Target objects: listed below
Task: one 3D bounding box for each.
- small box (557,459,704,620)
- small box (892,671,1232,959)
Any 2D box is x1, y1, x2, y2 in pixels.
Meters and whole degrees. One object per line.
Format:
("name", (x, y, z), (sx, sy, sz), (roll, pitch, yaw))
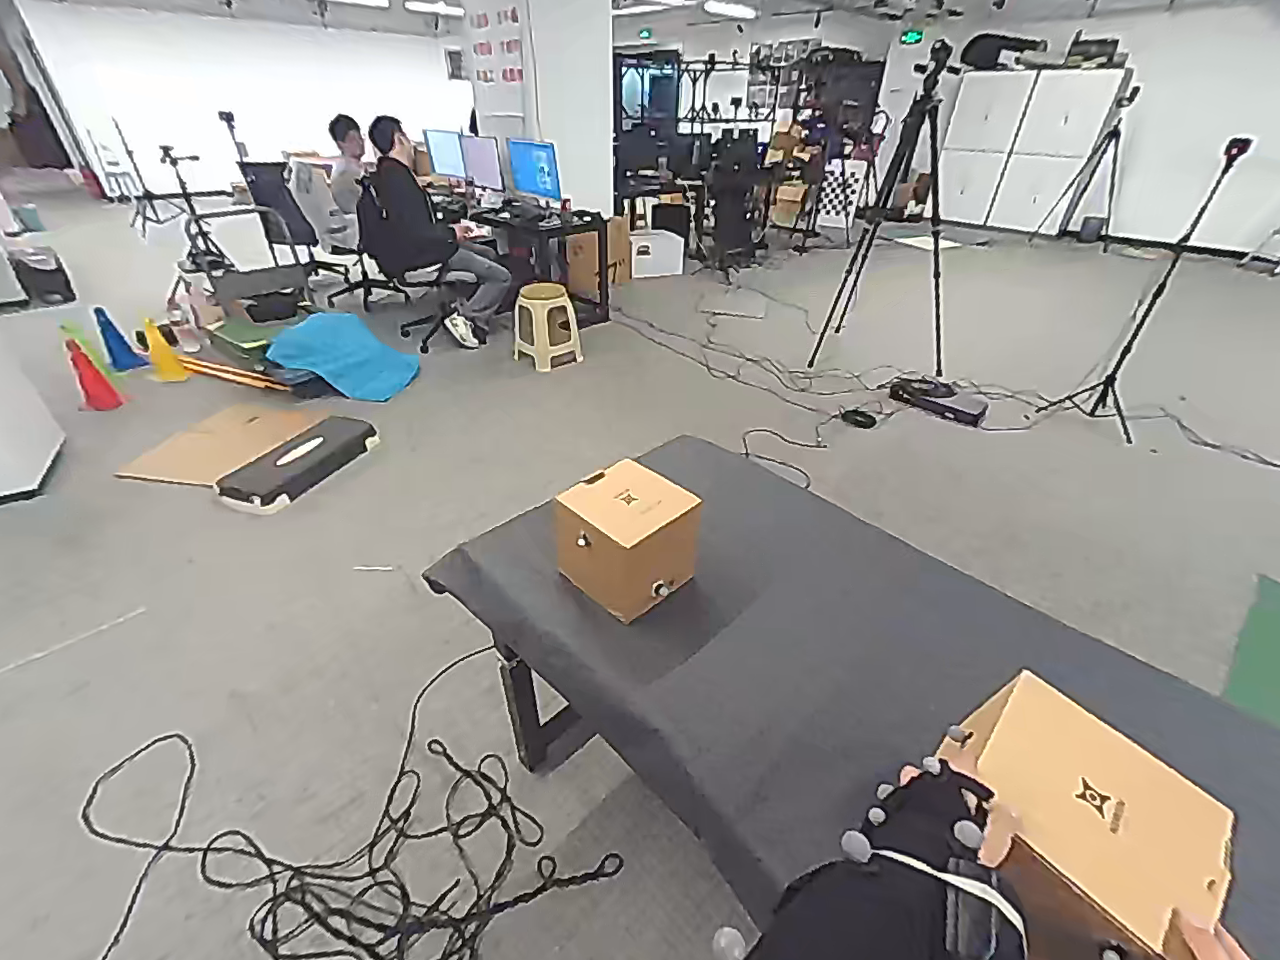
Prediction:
("small box", (-0.018, 0.096, 0.893), (0.168, 0.176, 0.179), (-30, 46, -35))
("small box", (0.373, 0.326, 0.504), (0.168, 0.176, 0.179), (-31, 56, -34))
